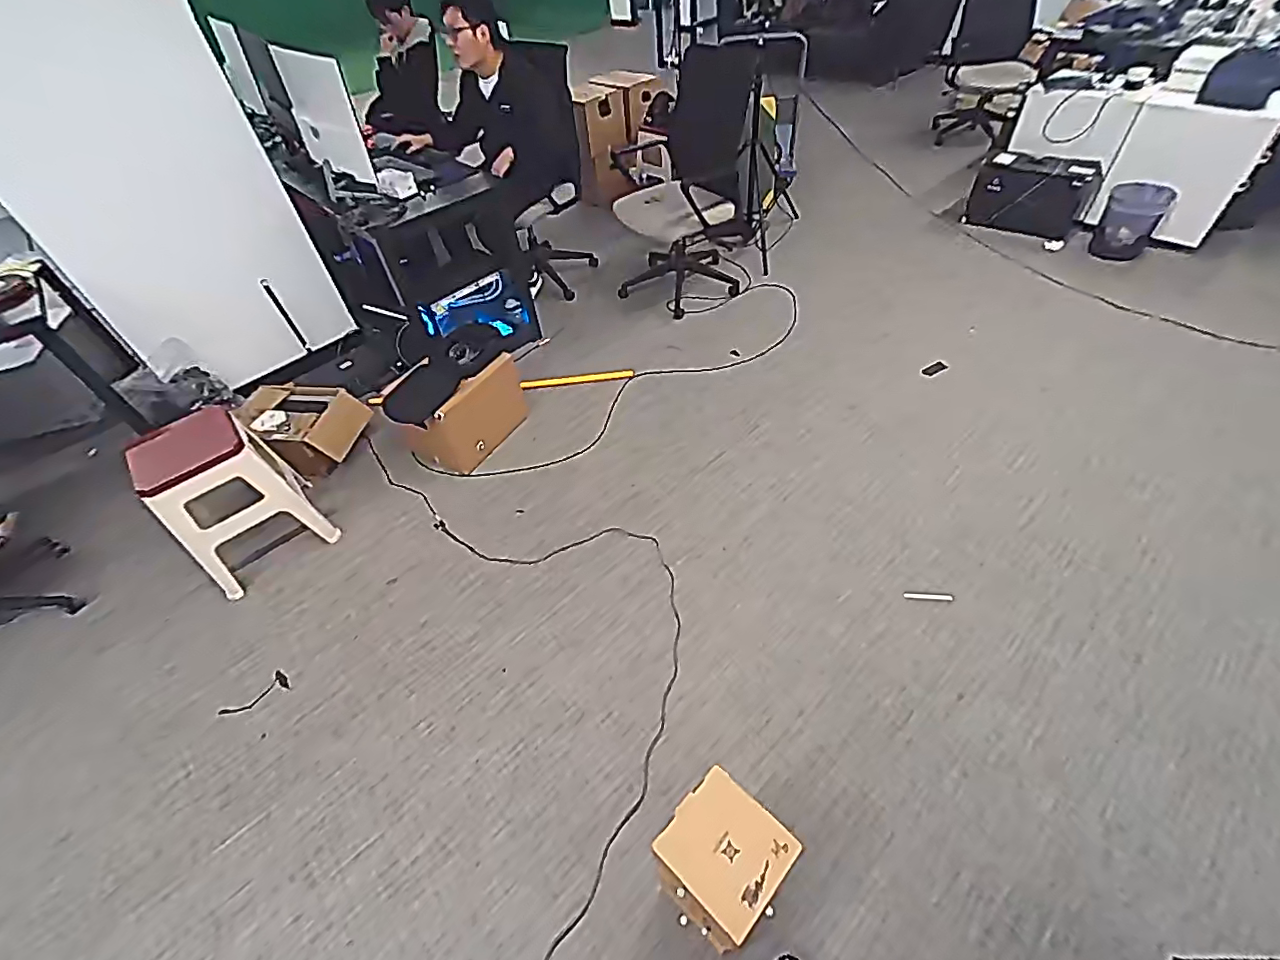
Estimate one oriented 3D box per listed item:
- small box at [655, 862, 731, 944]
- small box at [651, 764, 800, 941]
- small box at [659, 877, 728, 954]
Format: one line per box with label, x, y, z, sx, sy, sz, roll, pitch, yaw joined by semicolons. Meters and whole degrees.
small box;0.148;0.730;1.023;0.168;0.176;0.179;31;56;28
small box;0.137;0.622;0.899;0.179;0.176;0.168;34;59;30
small box;0.158;0.843;1.139;0.168;0.176;0.179;34;60;30
